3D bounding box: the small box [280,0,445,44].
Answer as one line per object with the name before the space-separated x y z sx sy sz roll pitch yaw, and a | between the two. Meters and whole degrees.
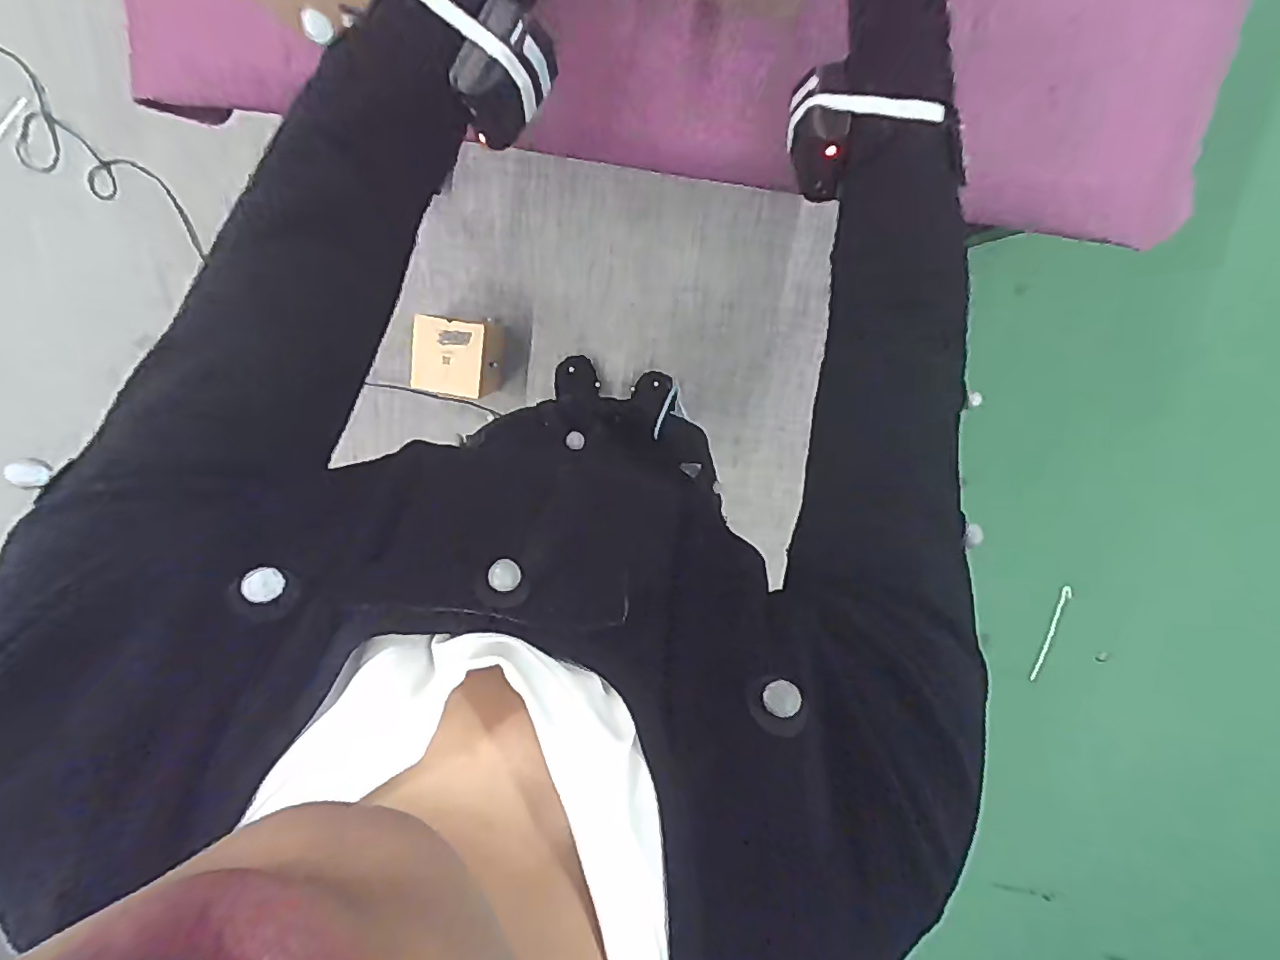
small box | -0.294 -0.564 0.511 0.168 0.176 0.179 3 104 -1
